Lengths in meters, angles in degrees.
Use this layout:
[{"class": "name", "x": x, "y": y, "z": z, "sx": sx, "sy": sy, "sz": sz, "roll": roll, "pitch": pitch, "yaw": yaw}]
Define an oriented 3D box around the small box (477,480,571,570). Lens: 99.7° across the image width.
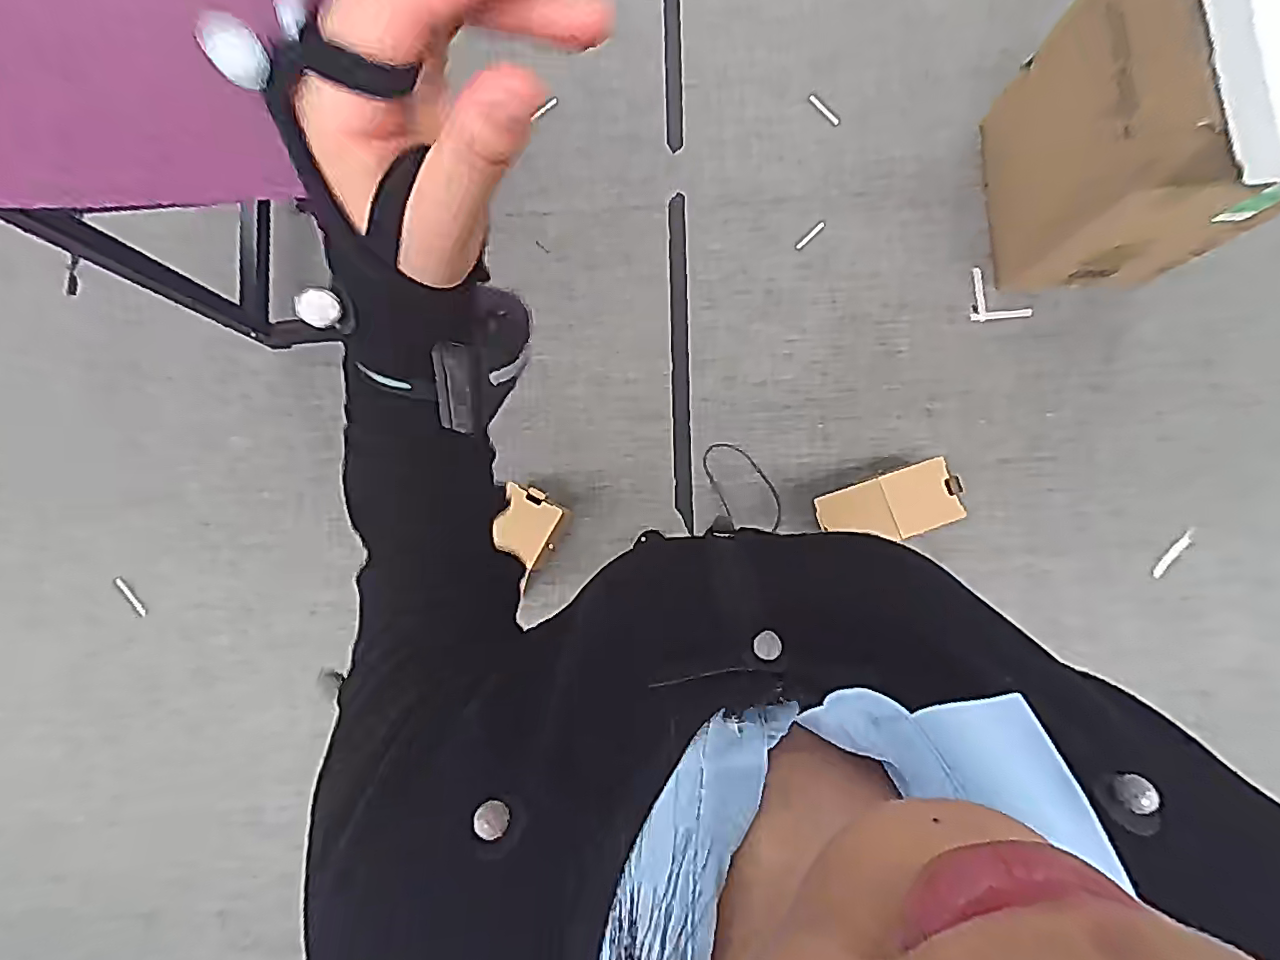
[{"class": "small box", "x": -0.299, "y": 0.121, "z": 1.445, "sx": 0.168, "sy": 0.176, "sz": 0.179, "roll": 29, "pitch": 86, "yaw": 4}]
